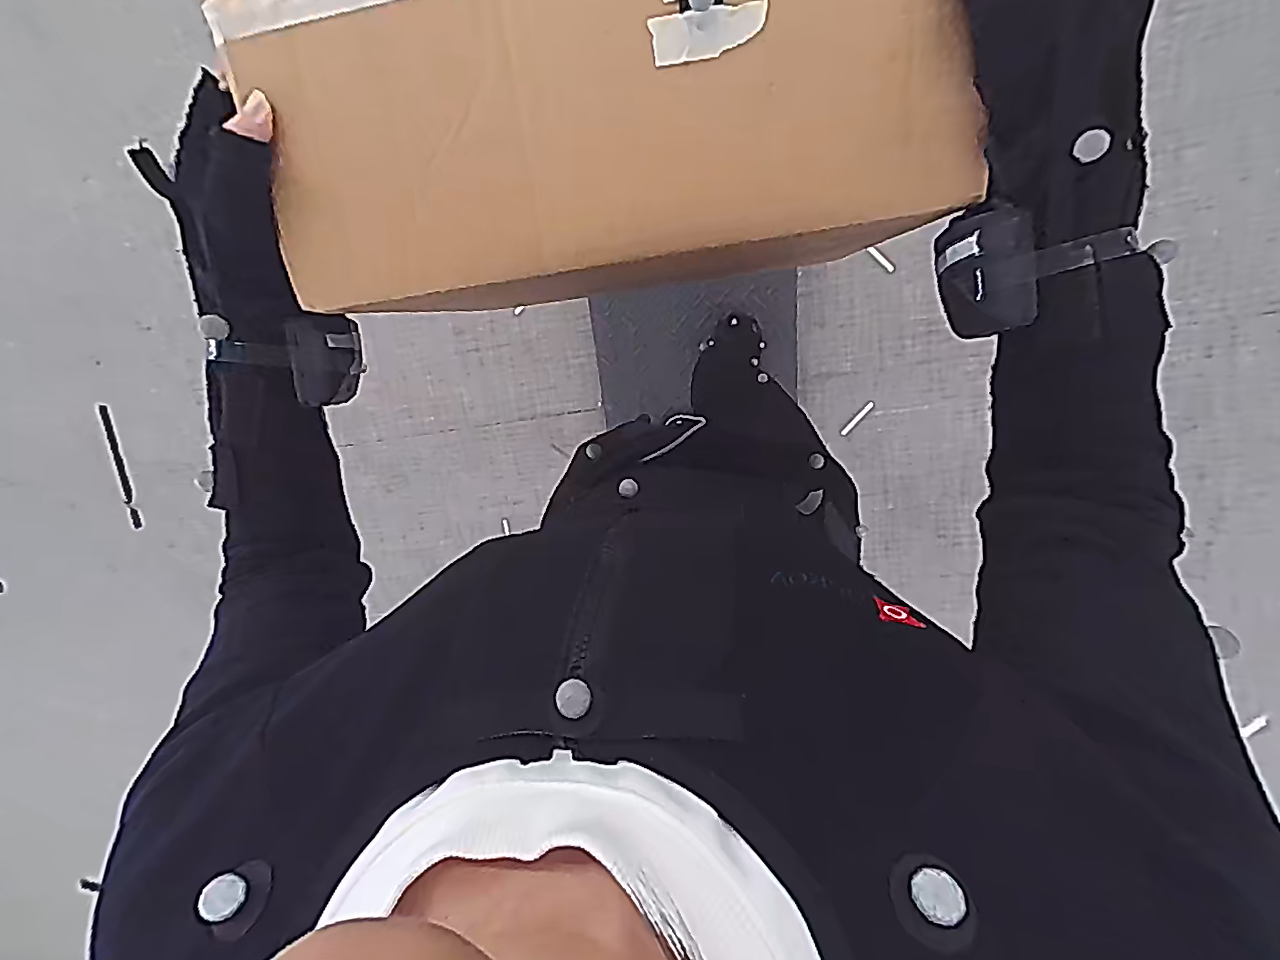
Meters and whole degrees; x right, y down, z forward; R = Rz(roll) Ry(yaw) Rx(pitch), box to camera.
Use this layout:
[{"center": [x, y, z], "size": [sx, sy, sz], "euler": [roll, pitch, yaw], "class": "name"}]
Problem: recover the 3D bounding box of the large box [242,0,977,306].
[{"center": [-0.019, -0.329, 0.426], "size": [0.408, 0.320, 0.320], "euler": [-6, 107, 8], "class": "large box"}]
